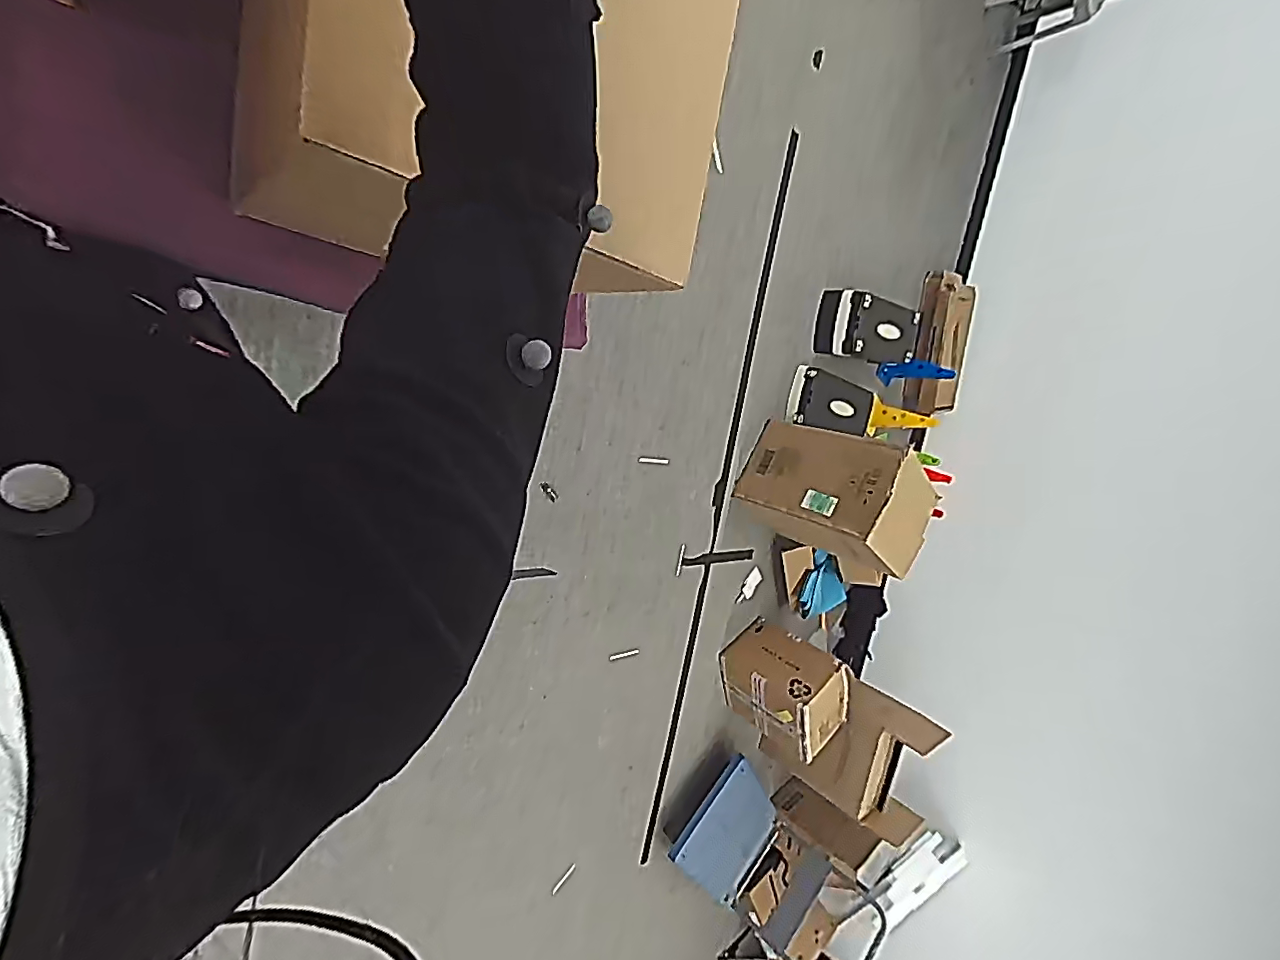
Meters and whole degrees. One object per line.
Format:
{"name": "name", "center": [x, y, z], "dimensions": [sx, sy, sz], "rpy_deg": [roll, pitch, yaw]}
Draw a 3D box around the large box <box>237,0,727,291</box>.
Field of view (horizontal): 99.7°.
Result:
{"name": "large box", "center": [-0.140, -0.407, 0.472], "dimensions": [0.320, 0.320, 0.408], "rpy_deg": [1, 102, -45]}
